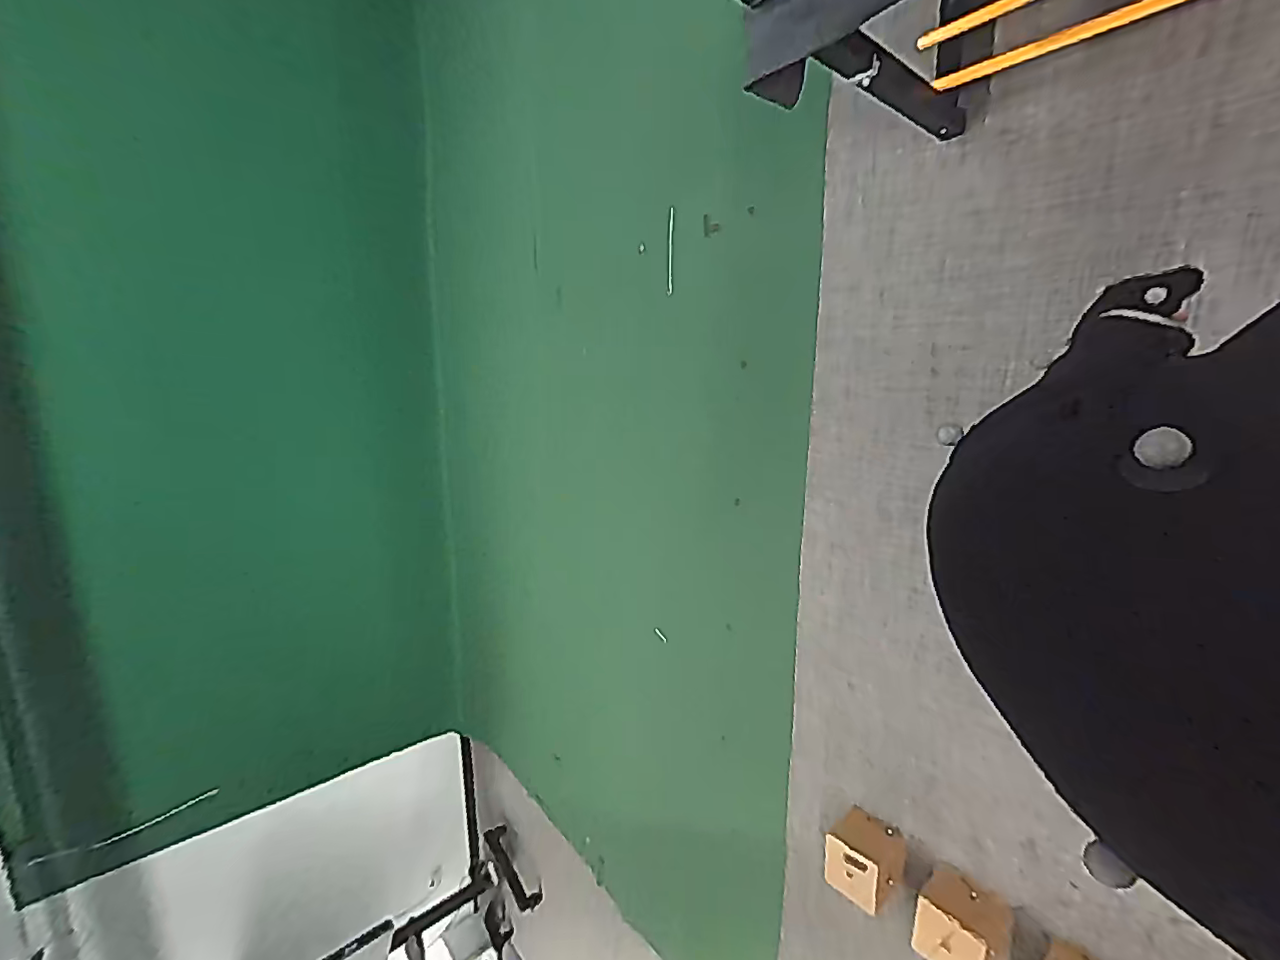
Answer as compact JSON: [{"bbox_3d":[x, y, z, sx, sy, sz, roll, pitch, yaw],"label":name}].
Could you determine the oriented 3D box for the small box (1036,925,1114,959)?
[{"bbox_3d":[1.034,1.219,1.268,0.168,0.176,0.179,13,106,48],"label":"small box"}]

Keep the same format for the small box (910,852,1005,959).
[{"bbox_3d":[0.866,1.177,1.473,0.168,0.176,0.179,16,109,49],"label":"small box"}]

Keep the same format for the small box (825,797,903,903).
[{"bbox_3d":[0.695,1.135,1.676,0.168,0.176,0.179,11,106,50],"label":"small box"}]
